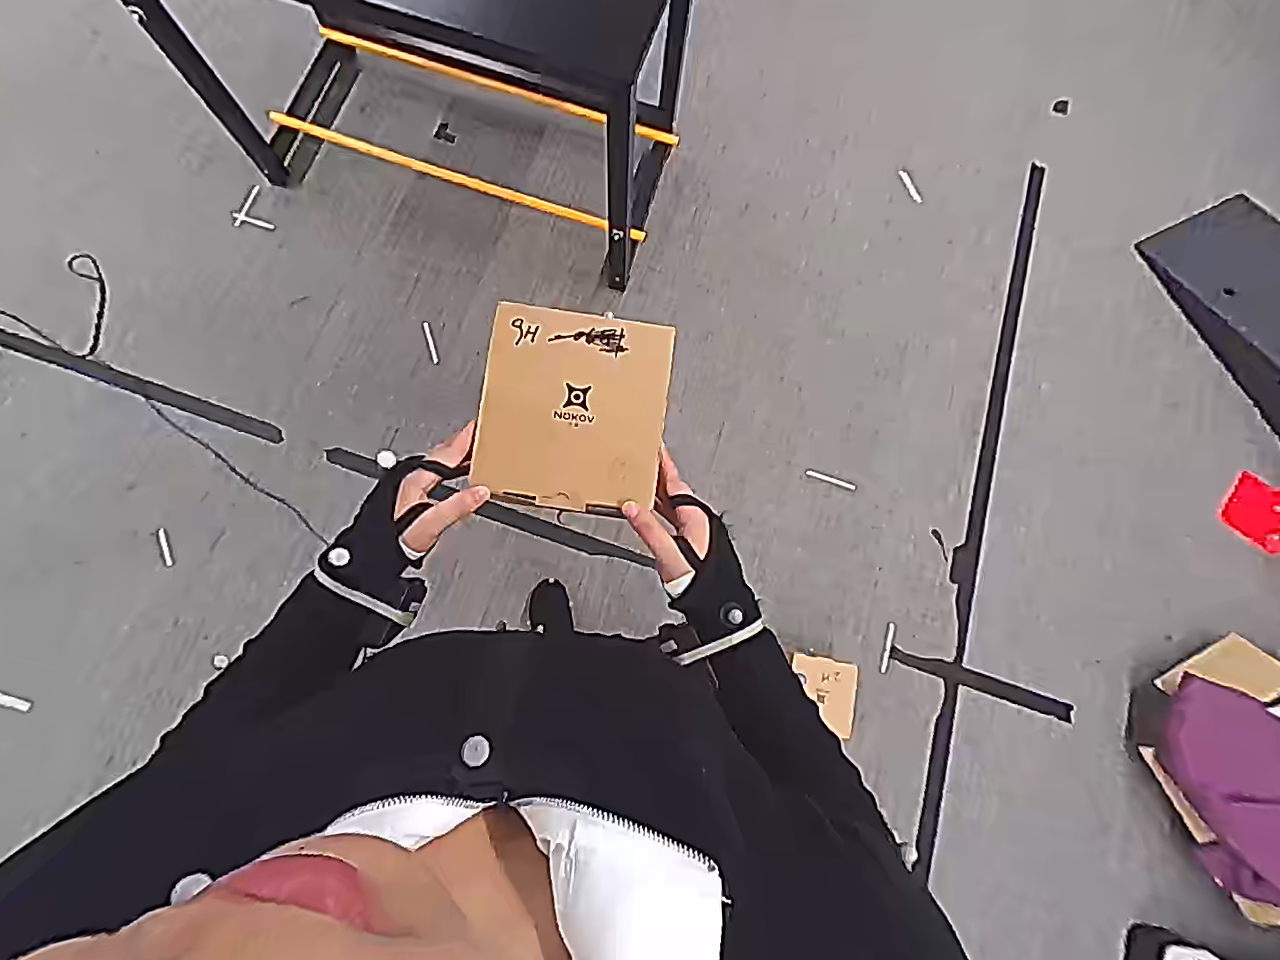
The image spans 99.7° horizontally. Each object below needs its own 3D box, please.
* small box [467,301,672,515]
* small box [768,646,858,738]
[{"bbox_3d":[-0.066,-0.059,0.564,0.168,0.176,0.179,8,84,-3],"label":"small box"},{"bbox_3d":[0.438,0.539,1.395,0.168,0.176,0.179,12,77,0],"label":"small box"}]
